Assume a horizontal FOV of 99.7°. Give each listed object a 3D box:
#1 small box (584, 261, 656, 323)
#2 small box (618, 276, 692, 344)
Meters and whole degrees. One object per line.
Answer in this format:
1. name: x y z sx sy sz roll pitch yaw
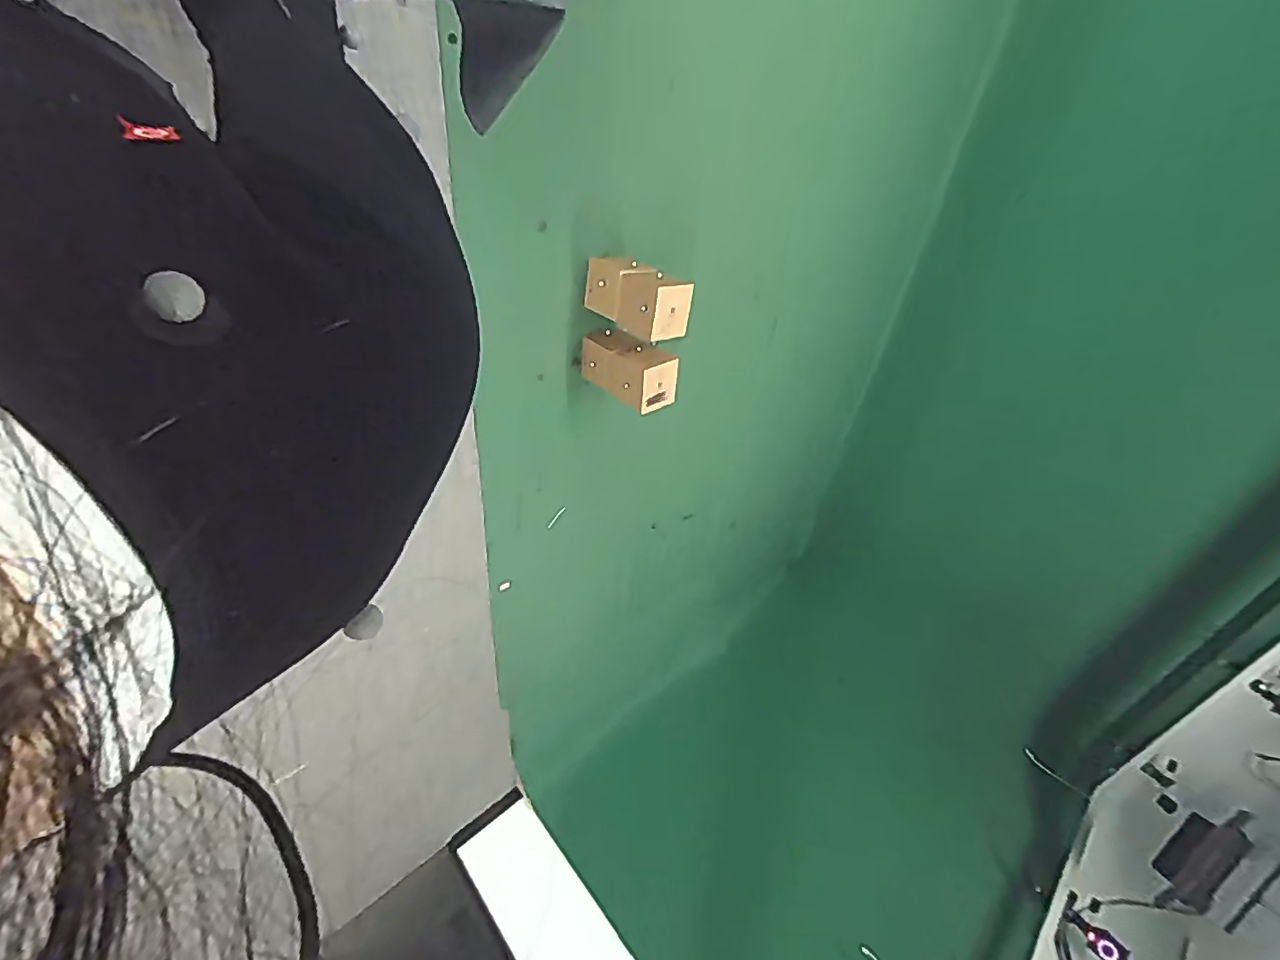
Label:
1. small box: -0.074 -0.648 1.860 0.179 0.176 0.168 -21 133 -40
2. small box: 0.044 -0.566 1.778 0.168 0.176 0.179 -21 133 -39
